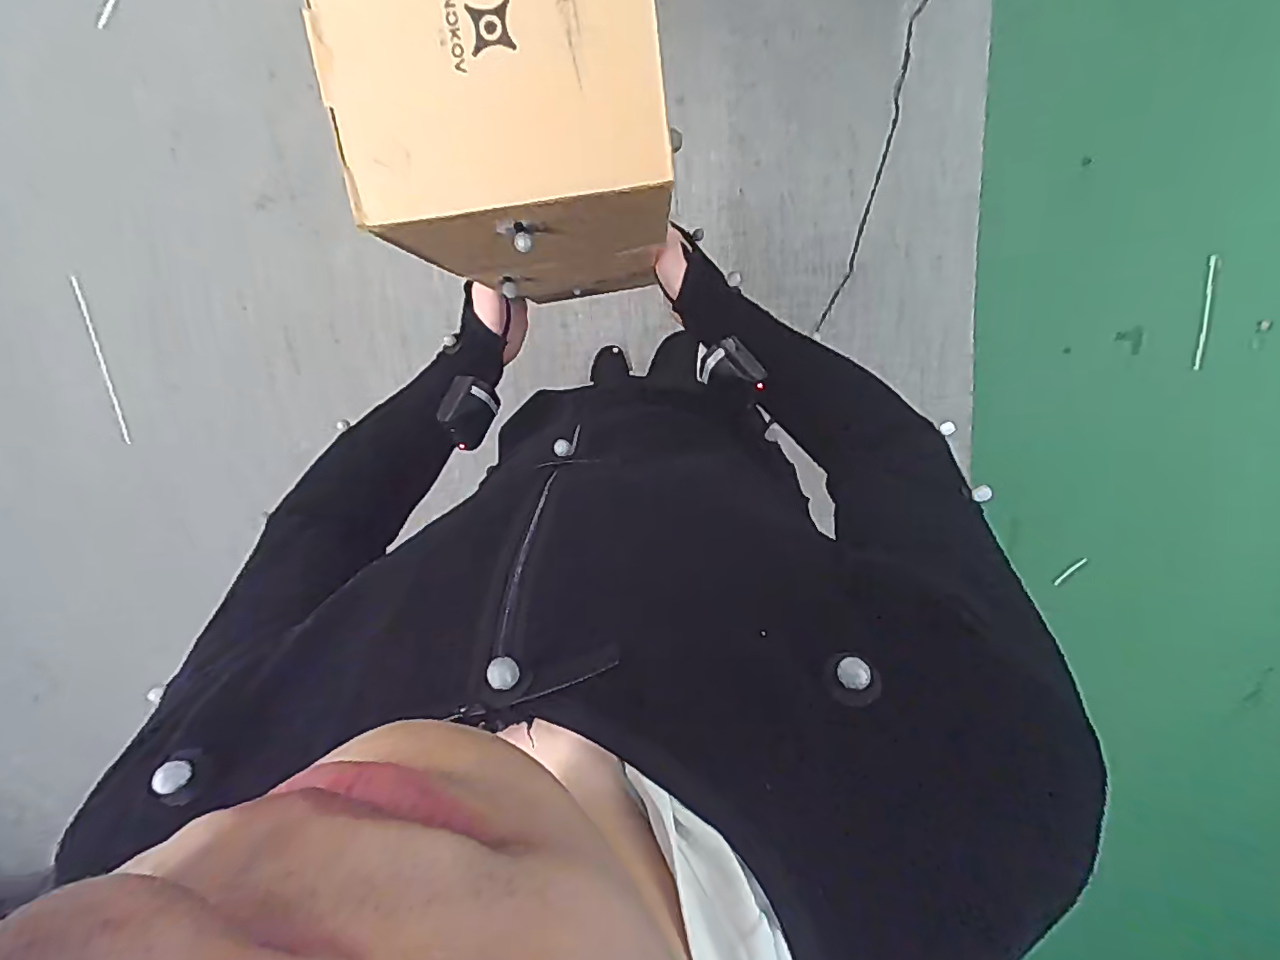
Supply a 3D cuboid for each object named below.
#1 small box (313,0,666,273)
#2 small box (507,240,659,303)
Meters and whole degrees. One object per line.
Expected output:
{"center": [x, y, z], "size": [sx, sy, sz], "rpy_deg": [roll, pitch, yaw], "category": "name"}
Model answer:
{"center": [-0.076, -0.243, 0.357], "size": [0.179, 0.176, 0.168], "rpy_deg": [-6, 102, 3], "category": "small box"}
{"center": [-0.071, -0.325, 0.674], "size": [0.179, 0.176, 0.168], "rpy_deg": [-8, 101, 3], "category": "small box"}
